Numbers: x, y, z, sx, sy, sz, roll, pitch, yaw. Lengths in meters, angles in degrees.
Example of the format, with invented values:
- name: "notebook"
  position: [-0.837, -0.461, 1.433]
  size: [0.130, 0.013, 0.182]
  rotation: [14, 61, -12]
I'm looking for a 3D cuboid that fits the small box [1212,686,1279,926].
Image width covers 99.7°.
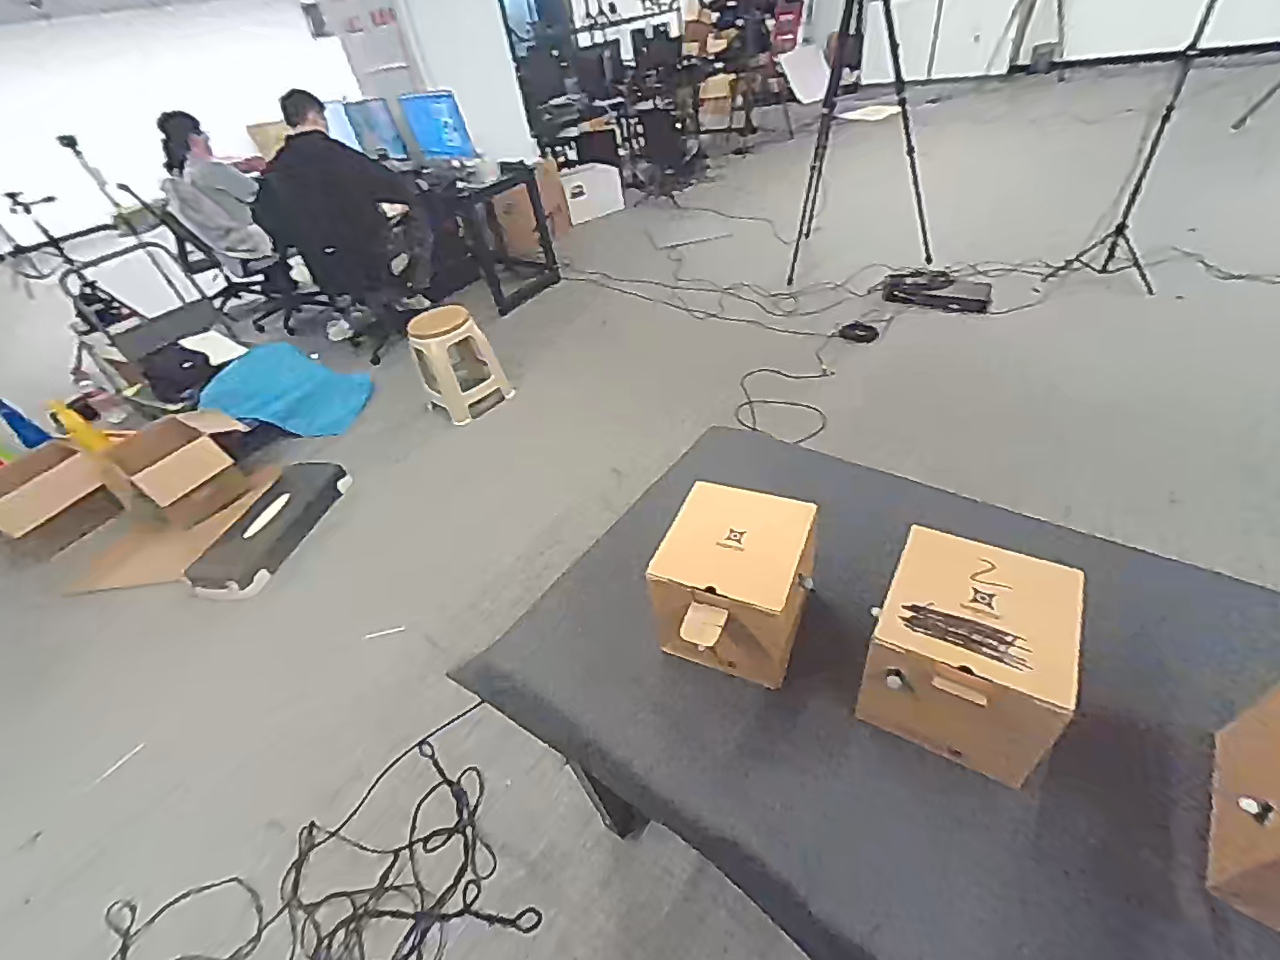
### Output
- name: "small box"
  position: [0.609, 0.286, 0.430]
  size: [0.168, 0.176, 0.179]
  rotation: [23, 49, 32]

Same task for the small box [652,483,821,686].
- name: "small box"
  position: [0.131, 0.134, 0.714]
  size: [0.168, 0.176, 0.179]
  rotation: [12, 46, 24]
